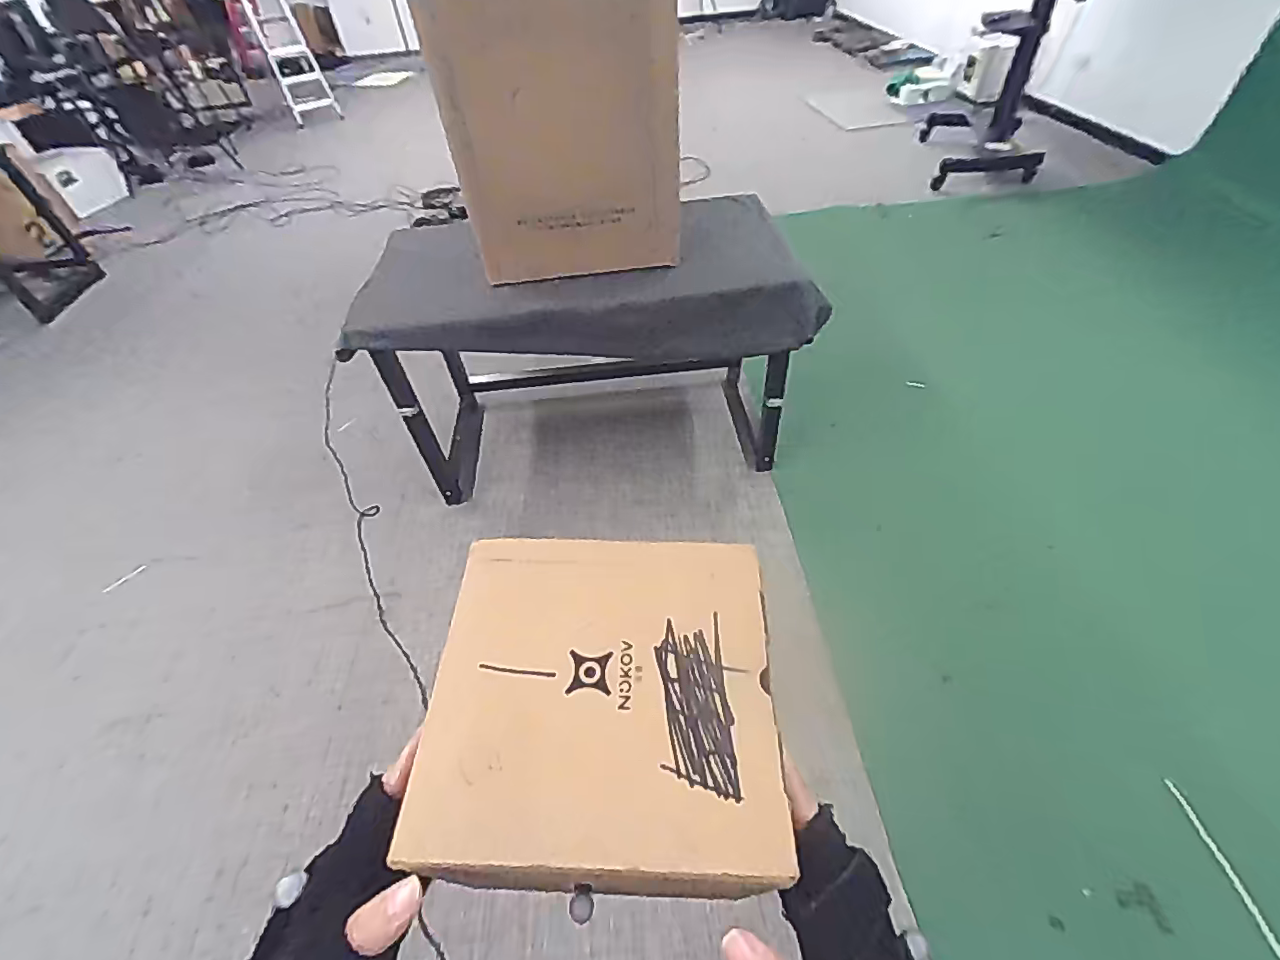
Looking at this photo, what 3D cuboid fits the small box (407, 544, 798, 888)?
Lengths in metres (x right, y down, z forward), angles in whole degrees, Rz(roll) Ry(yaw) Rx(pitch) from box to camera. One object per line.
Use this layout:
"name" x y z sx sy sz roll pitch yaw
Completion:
"small box" -0.020 0.156 0.348 0.179 0.176 0.168 0 51 -3
